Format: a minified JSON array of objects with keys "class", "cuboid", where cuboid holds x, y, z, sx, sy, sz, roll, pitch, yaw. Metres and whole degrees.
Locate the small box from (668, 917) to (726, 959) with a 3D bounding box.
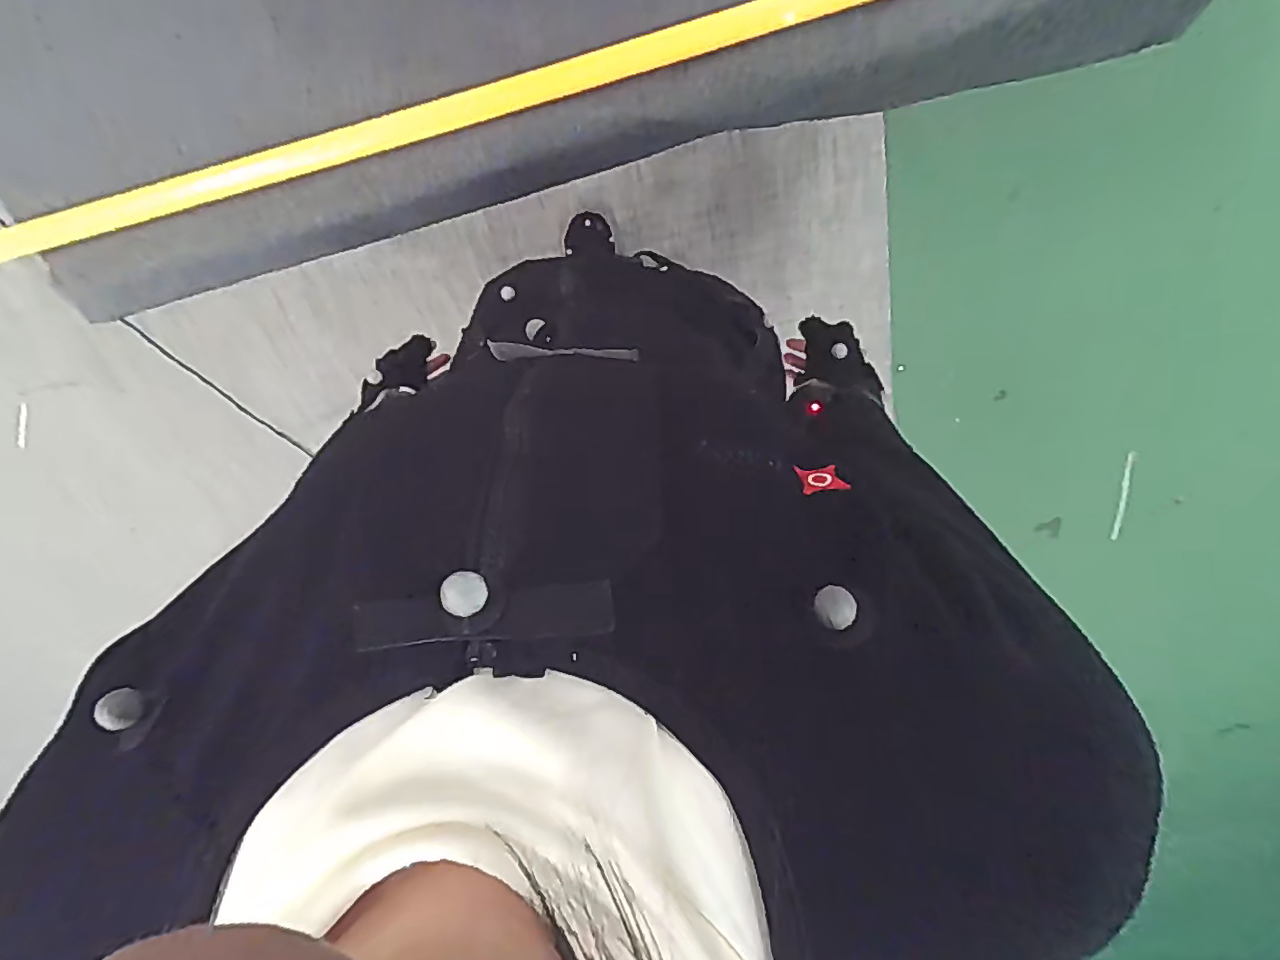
[{"class":"small box","cuboid":[0.199,1.627,1.833,0.168,0.176,0.179,-18,117,7]}]
